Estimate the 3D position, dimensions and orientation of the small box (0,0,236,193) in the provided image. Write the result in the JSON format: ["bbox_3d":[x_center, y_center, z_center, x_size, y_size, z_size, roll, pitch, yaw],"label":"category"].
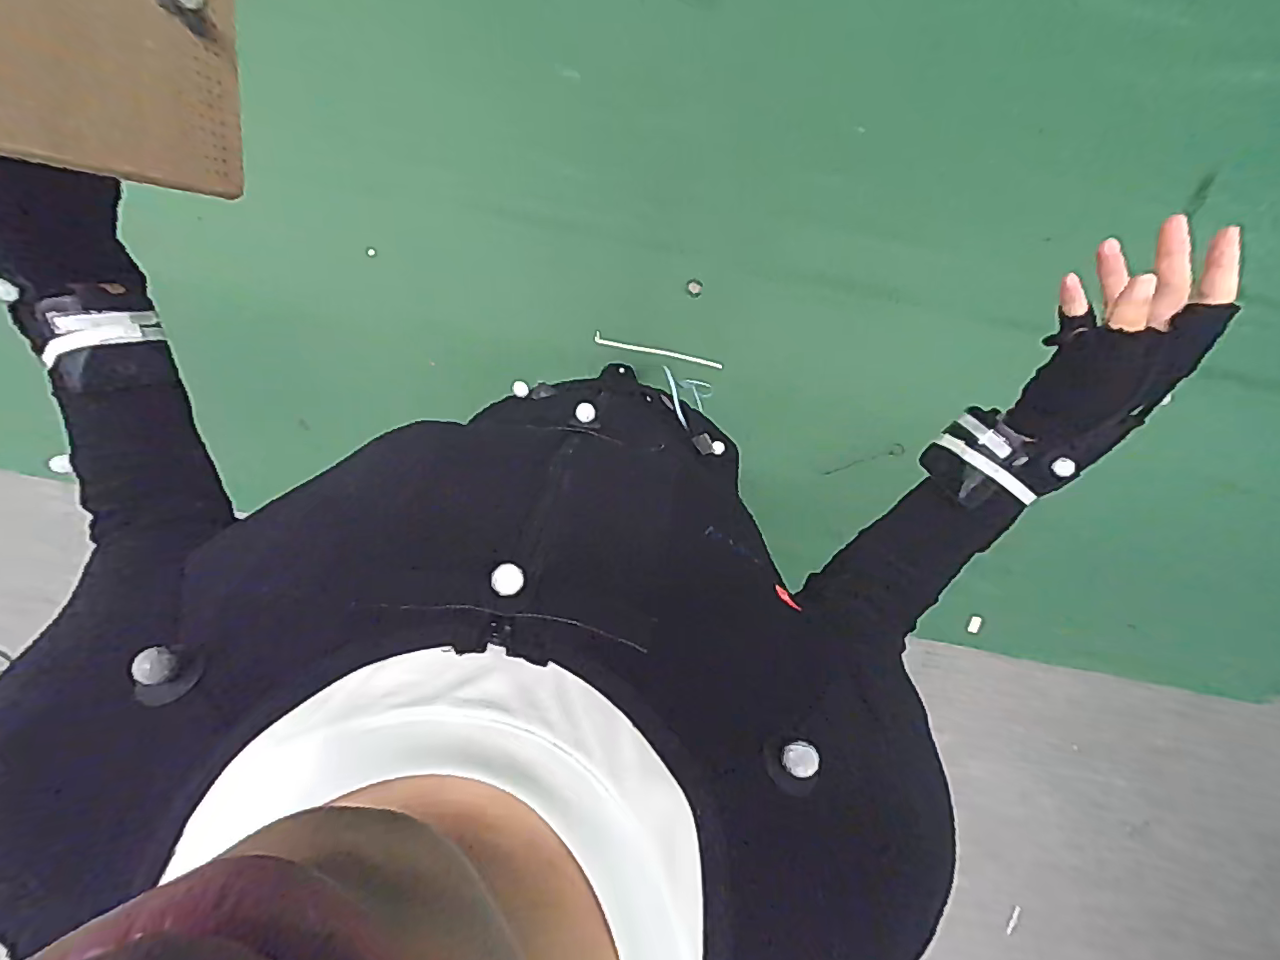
[{"bbox_3d":[-0.303,-0.237,0.214,0.168,0.176,0.179,13,110,3],"label":"small box"}]
